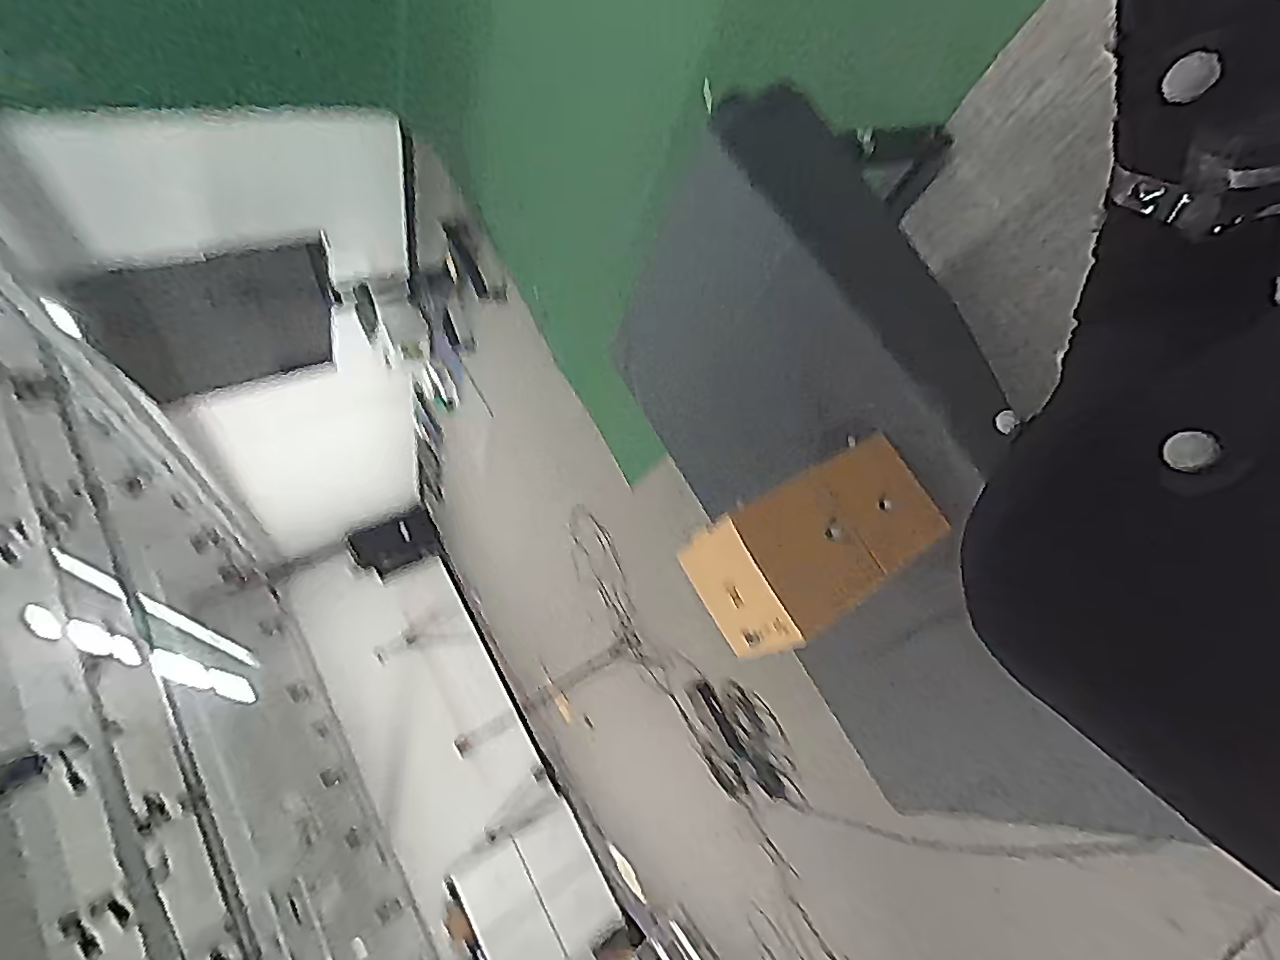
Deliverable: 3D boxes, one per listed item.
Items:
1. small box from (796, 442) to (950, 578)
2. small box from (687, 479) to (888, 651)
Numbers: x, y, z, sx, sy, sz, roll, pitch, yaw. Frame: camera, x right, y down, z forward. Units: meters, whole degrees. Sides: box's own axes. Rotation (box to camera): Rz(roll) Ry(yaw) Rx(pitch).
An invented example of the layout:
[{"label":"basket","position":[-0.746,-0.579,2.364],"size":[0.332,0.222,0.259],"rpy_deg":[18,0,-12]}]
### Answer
[{"label":"small box","position":[0.332,0.058,0.846],"size":[0.179,0.176,0.168],"rpy_deg":[60,153,11]},{"label":"small box","position":[0.203,0.115,0.767],"size":[0.179,0.176,0.168],"rpy_deg":[60,152,13]}]
